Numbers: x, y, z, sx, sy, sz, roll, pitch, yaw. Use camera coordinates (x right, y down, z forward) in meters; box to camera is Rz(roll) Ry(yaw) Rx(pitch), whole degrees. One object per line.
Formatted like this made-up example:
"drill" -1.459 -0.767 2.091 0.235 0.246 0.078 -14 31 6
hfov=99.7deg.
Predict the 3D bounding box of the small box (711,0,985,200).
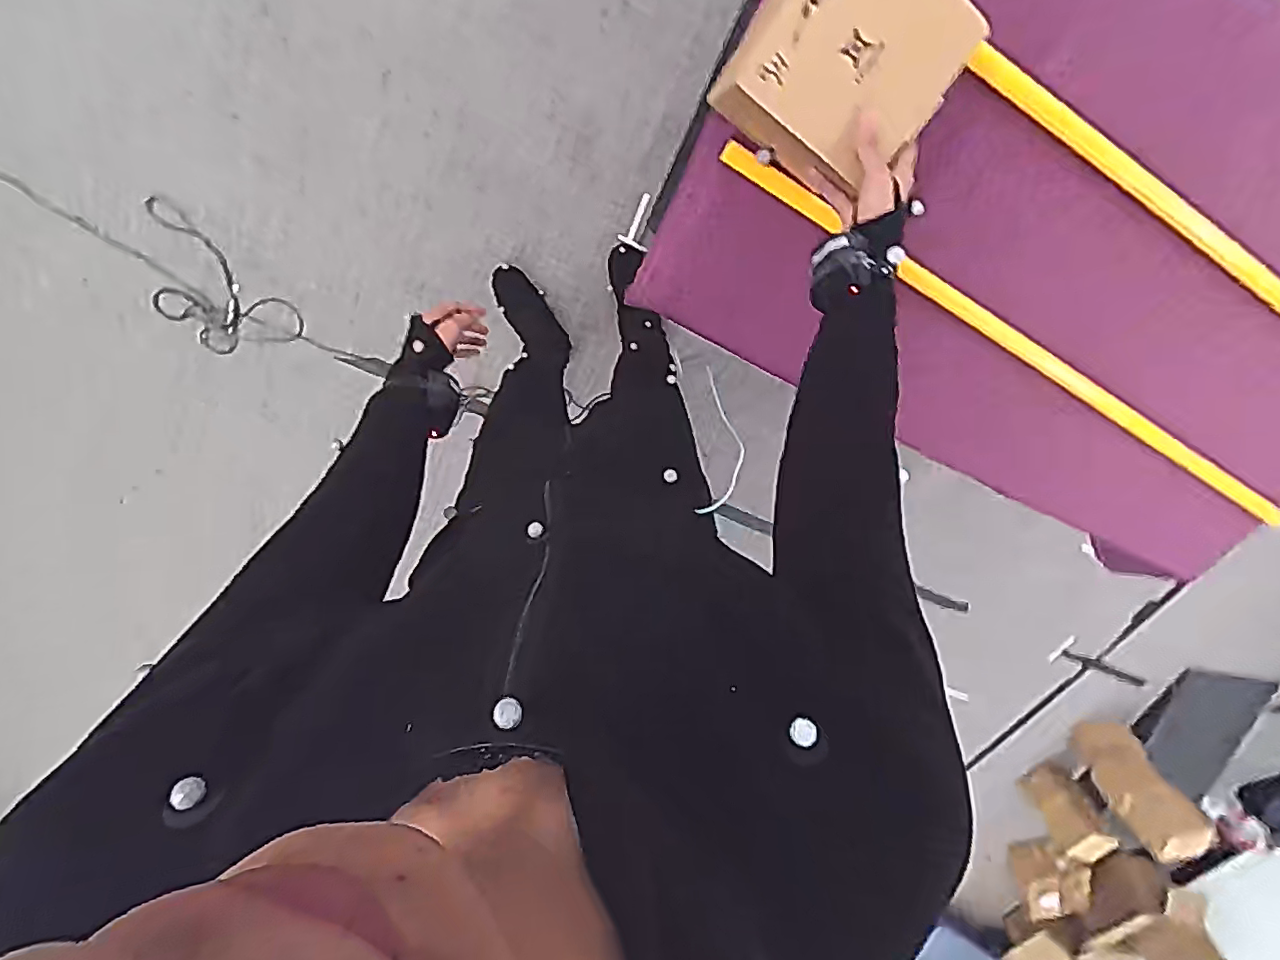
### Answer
"small box" 0.198 -0.428 0.566 0.179 0.176 0.168 29 114 -19
